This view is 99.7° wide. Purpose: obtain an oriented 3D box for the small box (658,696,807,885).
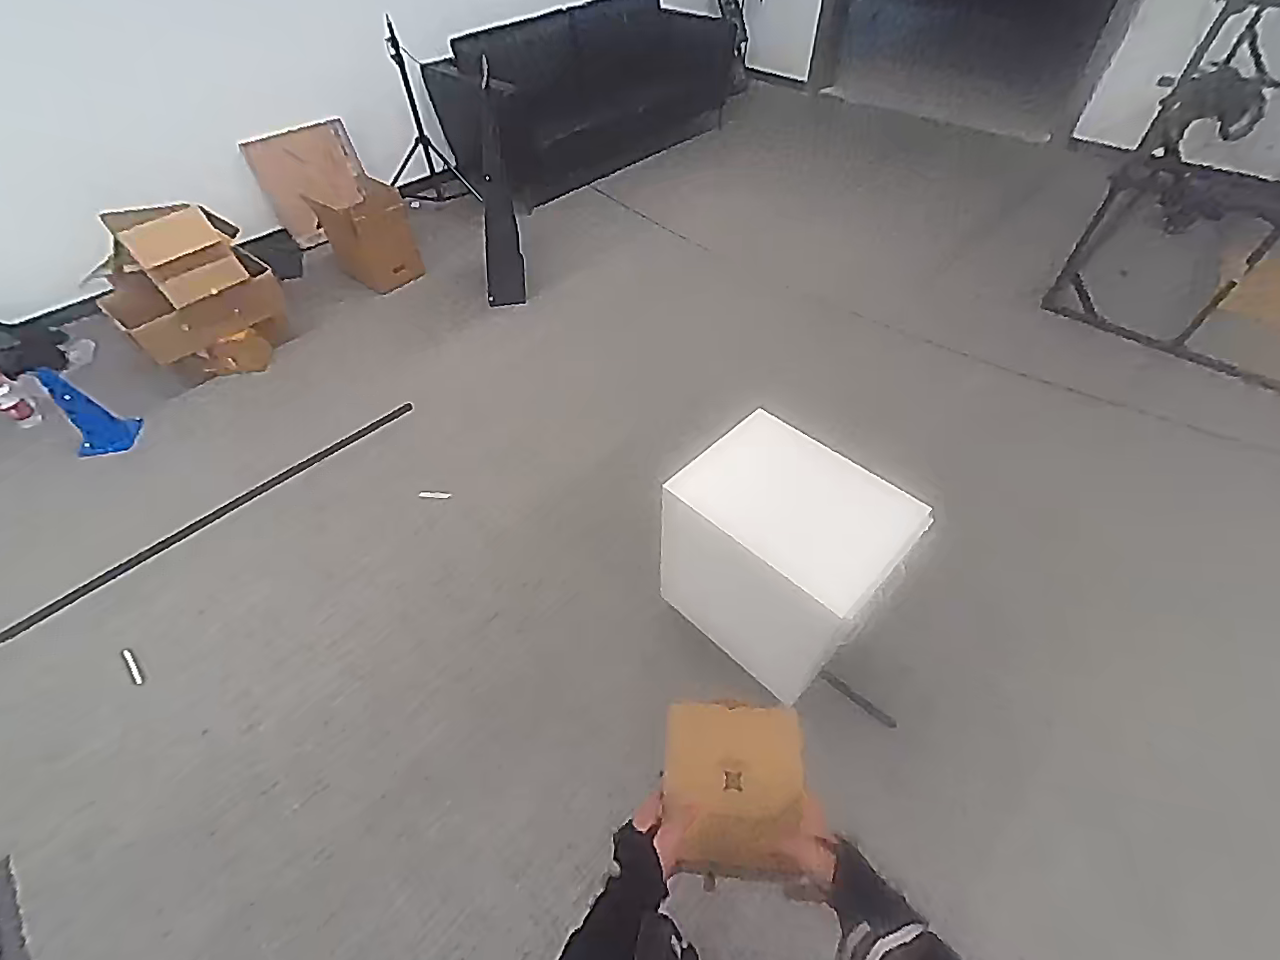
[{"bbox_3d":[0.112,0.405,0.704,0.168,0.176,0.179,3,50,5],"label":"small box"}]
